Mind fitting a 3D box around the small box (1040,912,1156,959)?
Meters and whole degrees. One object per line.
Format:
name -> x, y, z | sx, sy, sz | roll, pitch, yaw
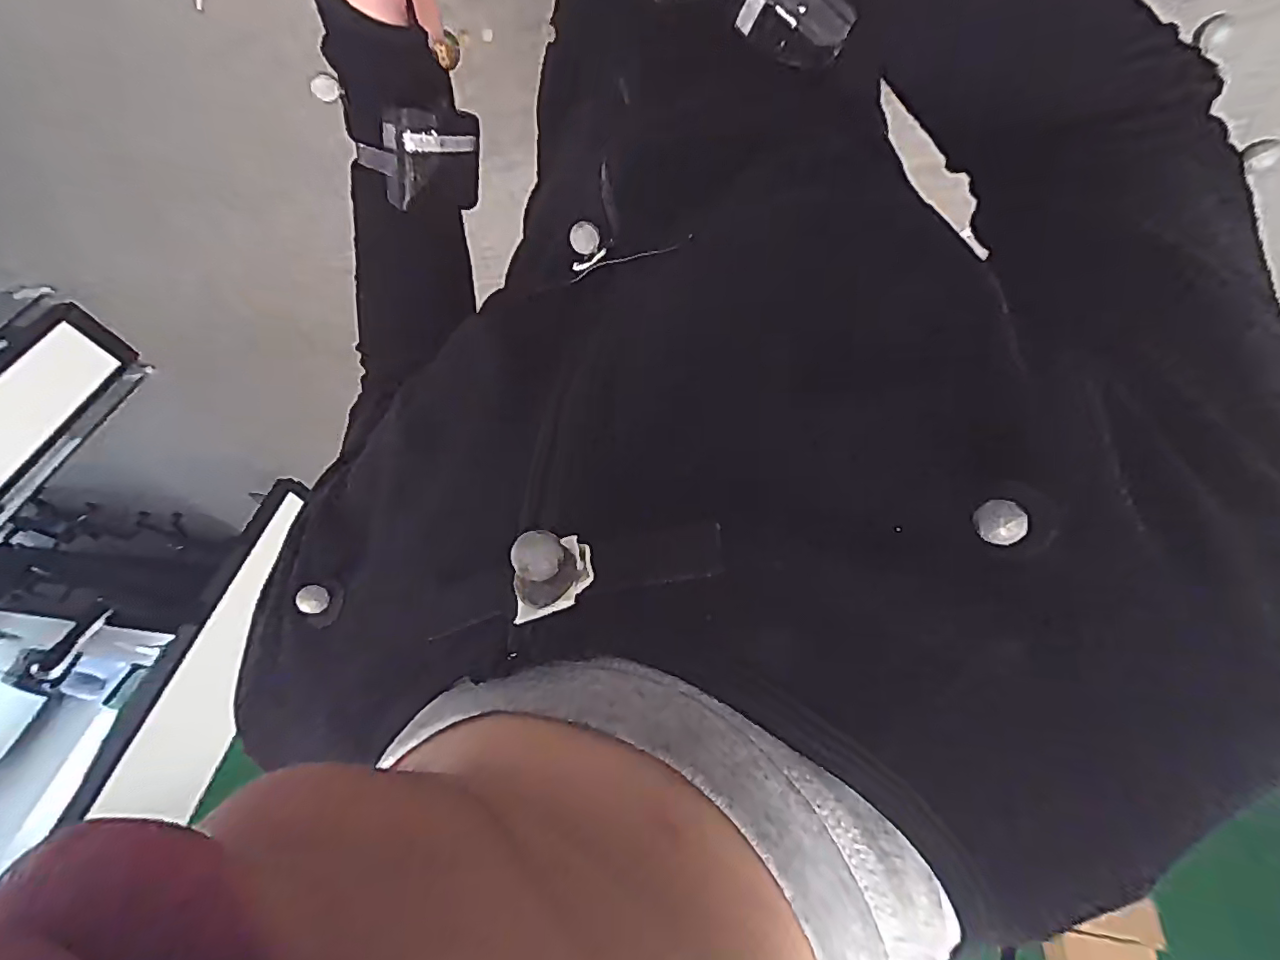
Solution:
small box -> 1.075, 1.129, 1.255 | 0.179, 0.176, 0.168 | -3, 143, 17
